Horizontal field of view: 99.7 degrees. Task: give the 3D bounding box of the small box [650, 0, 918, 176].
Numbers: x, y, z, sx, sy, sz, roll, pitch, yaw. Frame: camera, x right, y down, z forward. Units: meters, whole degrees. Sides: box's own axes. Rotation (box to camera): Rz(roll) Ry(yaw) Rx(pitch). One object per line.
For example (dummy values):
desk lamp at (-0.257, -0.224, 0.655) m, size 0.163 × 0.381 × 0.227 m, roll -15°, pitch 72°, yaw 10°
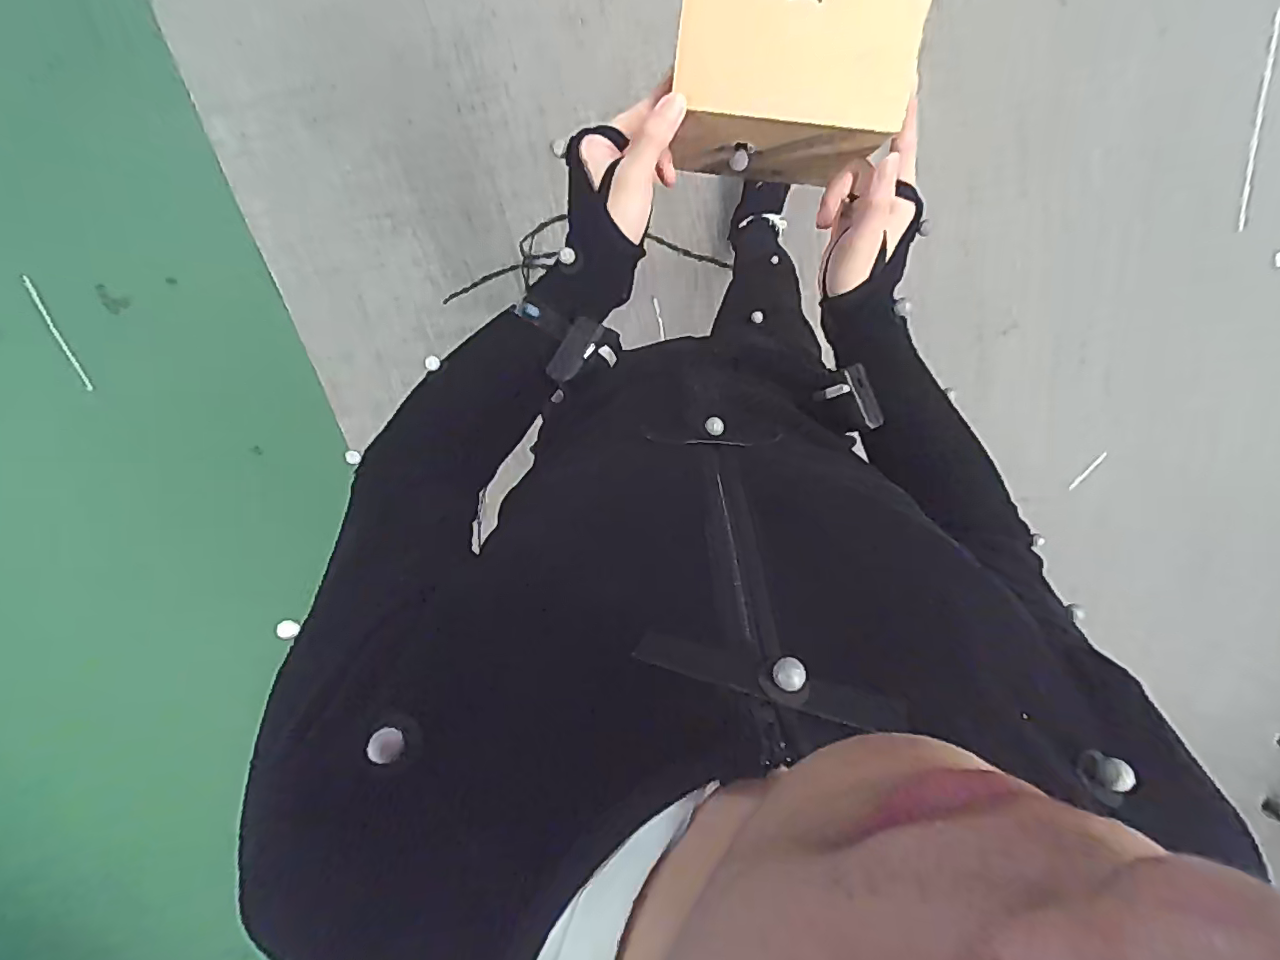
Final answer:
small box at (0.103, -0.354, 0.414) m, size 0.168 × 0.176 × 0.179 m, roll 8°, pitch 106°, yaw 0°
